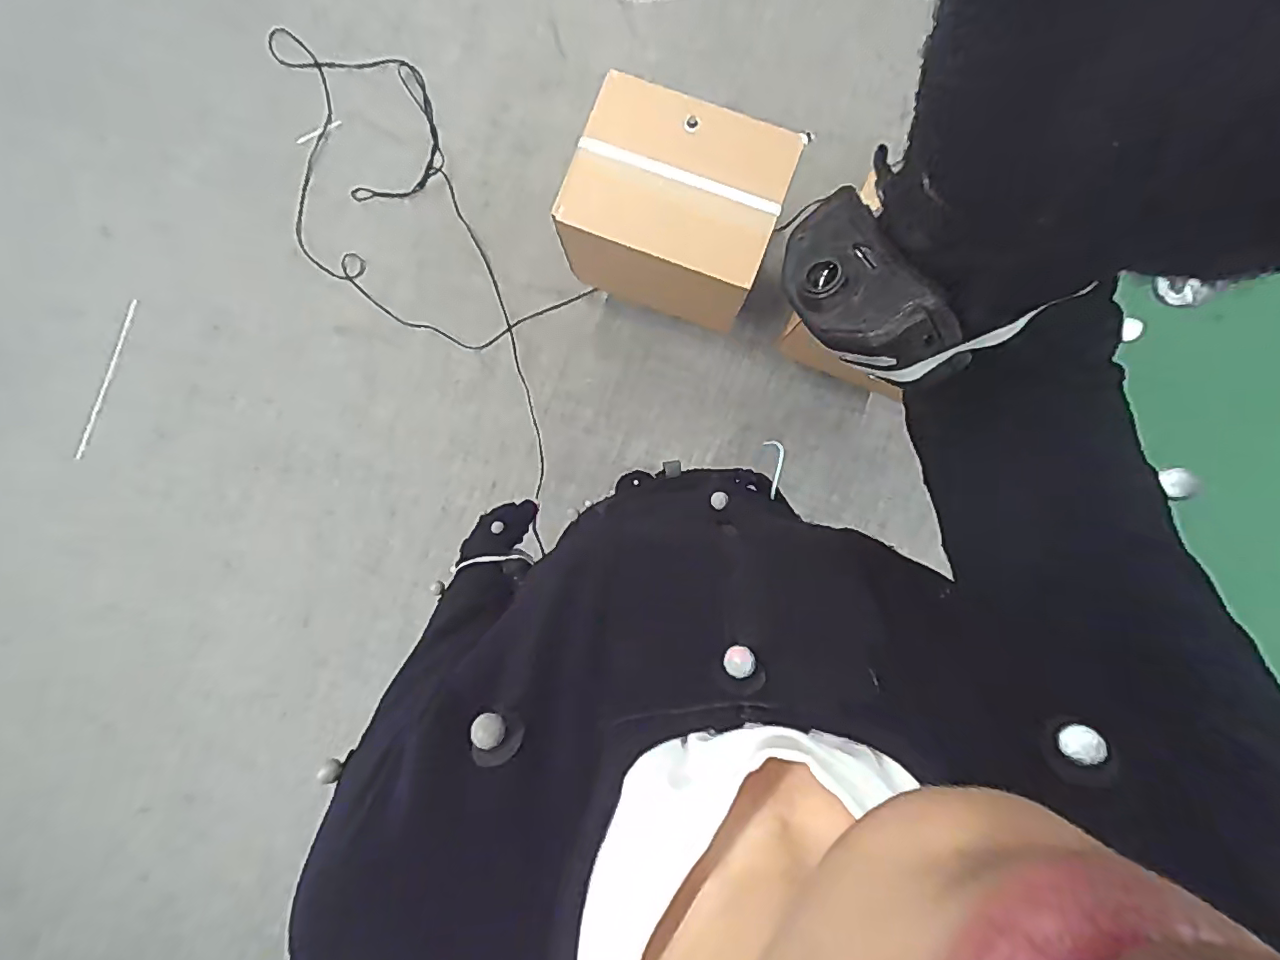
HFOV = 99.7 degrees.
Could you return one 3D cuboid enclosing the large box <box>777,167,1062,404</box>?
[{"bbox_3d":[0.571,-0.392,1.184,0.408,0.320,0.320,23,90,2],"label":"large box"}]
